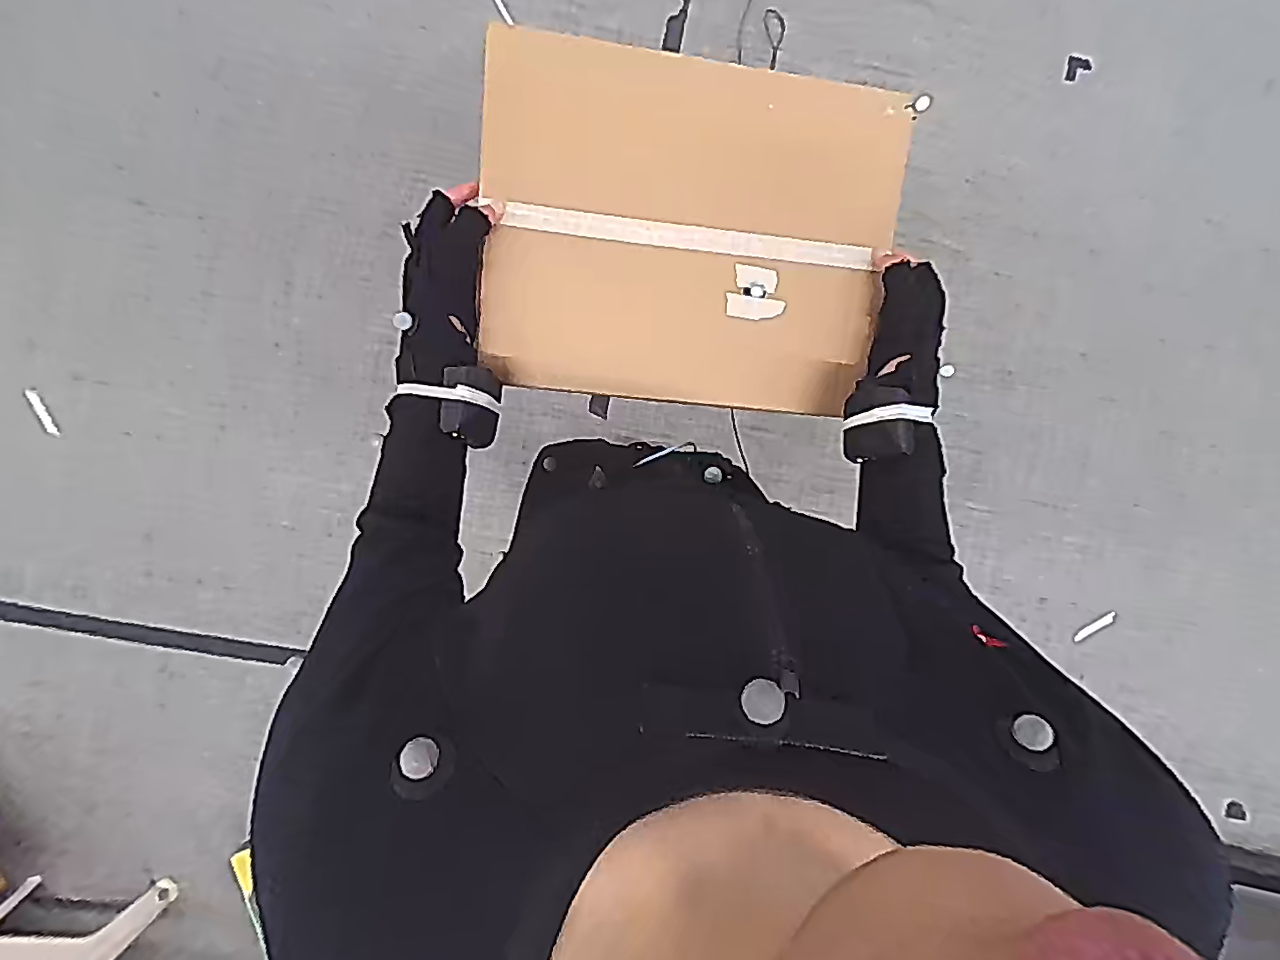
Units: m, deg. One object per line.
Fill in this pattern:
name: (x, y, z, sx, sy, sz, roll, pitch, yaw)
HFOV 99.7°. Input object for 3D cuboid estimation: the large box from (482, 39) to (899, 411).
large box: (0.032, -0.264, 0.685, 0.408, 0.320, 0.320, 5, 100, -7)
